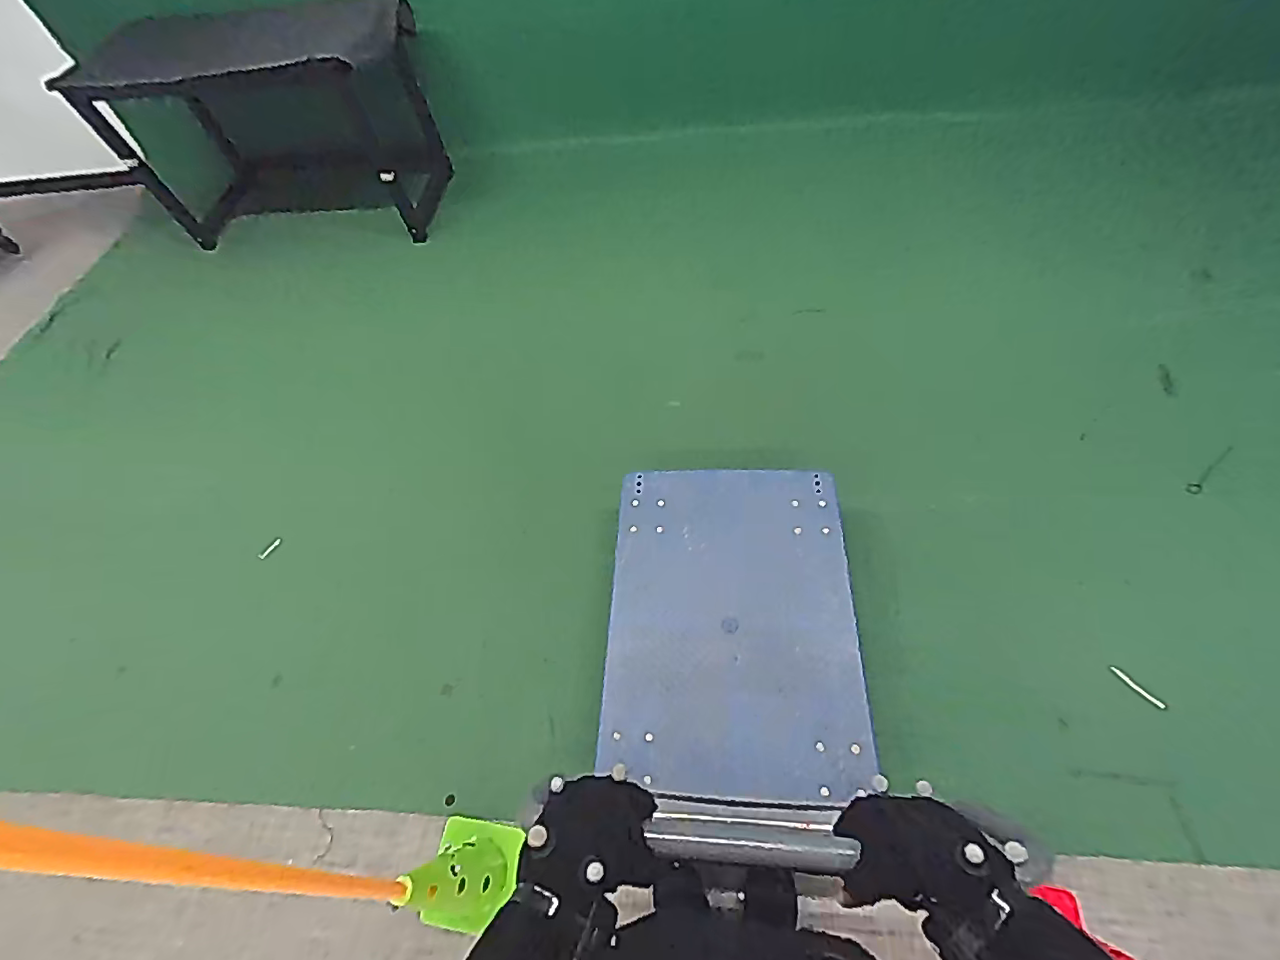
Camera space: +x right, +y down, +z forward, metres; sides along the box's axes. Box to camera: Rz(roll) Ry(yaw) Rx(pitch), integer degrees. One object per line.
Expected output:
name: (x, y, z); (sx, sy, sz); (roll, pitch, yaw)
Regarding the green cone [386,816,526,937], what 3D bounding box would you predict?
green cone: (-0.387, 0.784, 1.066); (0.202, 0.368, 0.200); (3, 57, 10)
